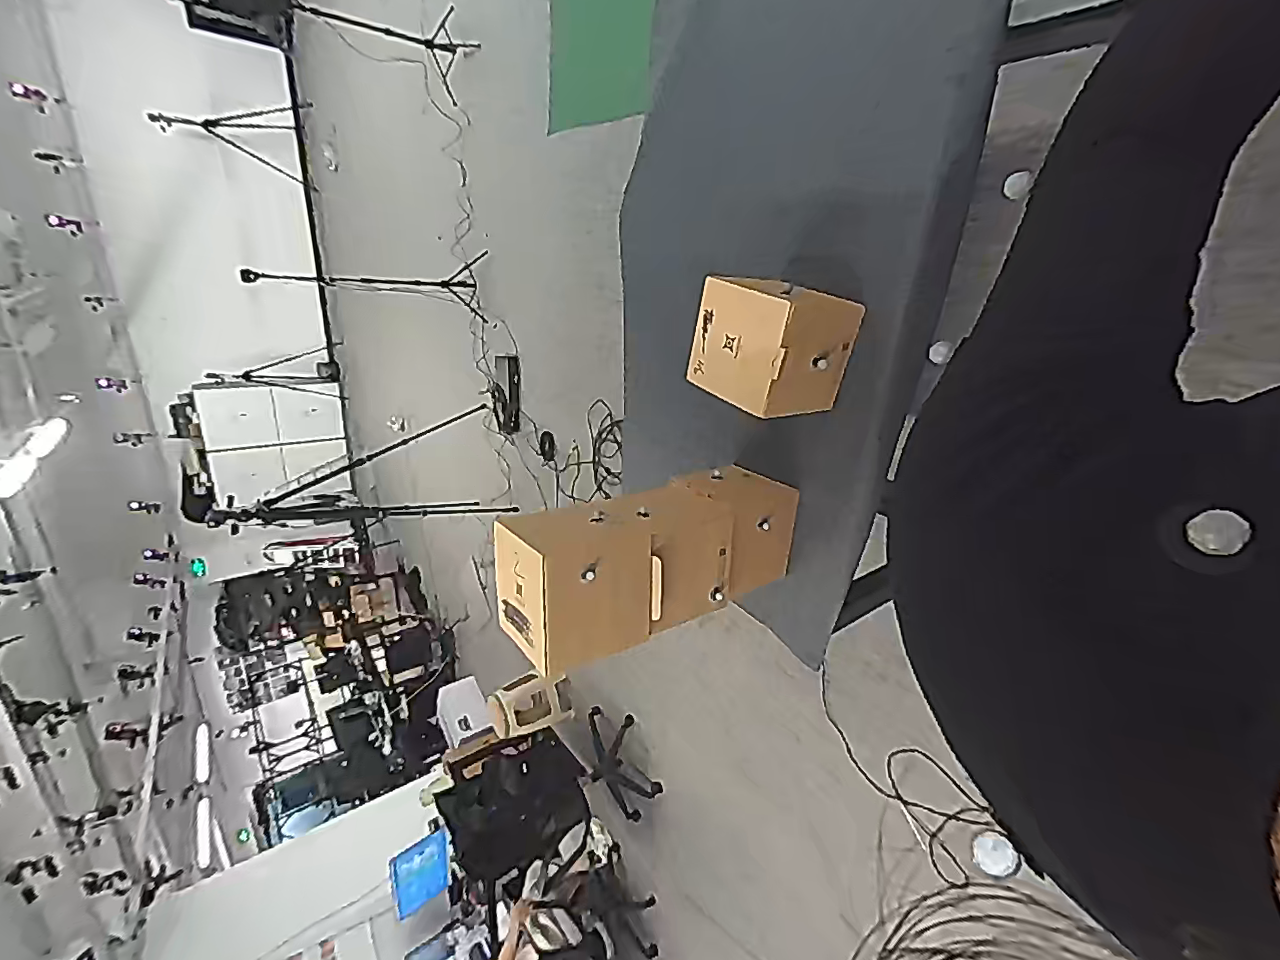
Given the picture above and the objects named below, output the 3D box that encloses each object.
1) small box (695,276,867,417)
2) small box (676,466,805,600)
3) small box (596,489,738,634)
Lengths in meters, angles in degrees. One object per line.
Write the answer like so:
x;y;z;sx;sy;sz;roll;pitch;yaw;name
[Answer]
0.215;-0.213;0.836;0.179;0.176;0.168;38;130;43;small box
0.176;0.084;0.981;0.168;0.176;0.179;27;122;50;small box
0.044;0.120;0.891;0.179;0.176;0.168;22;117;53;small box
